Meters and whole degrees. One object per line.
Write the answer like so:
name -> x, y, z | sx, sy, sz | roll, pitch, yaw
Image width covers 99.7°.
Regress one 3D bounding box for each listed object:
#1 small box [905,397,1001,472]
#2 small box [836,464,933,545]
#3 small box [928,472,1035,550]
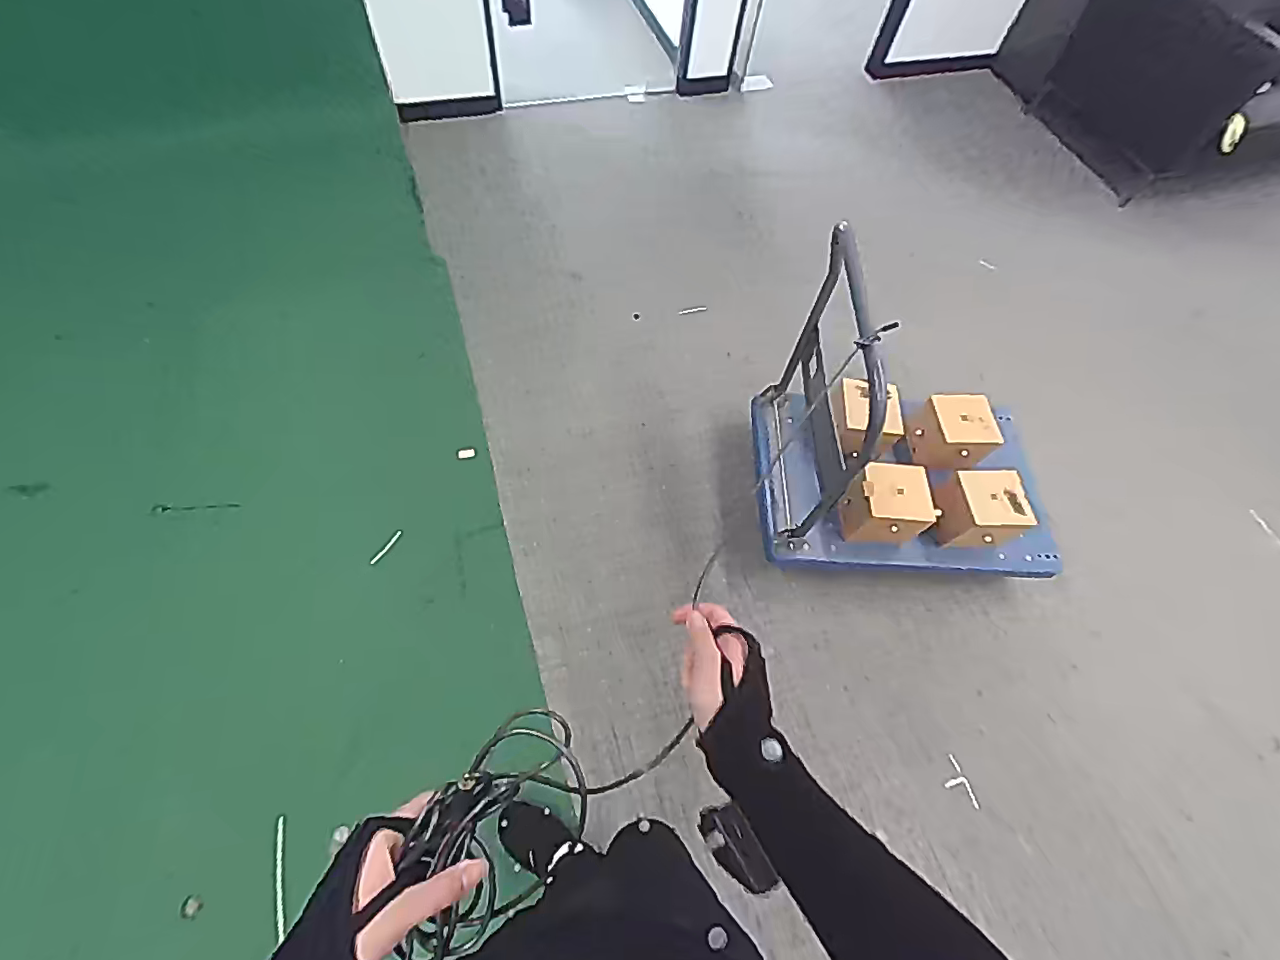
small box -> 0.926, -0.133, 1.622 | 0.179, 0.176, 0.168 | 1, 63, -5
small box -> 0.667, 0.073, 1.492 | 0.179, 0.176, 0.168 | 4, 62, -2
small box -> 0.936, 0.090, 1.507 | 0.179, 0.176, 0.168 | 0, 62, -4
